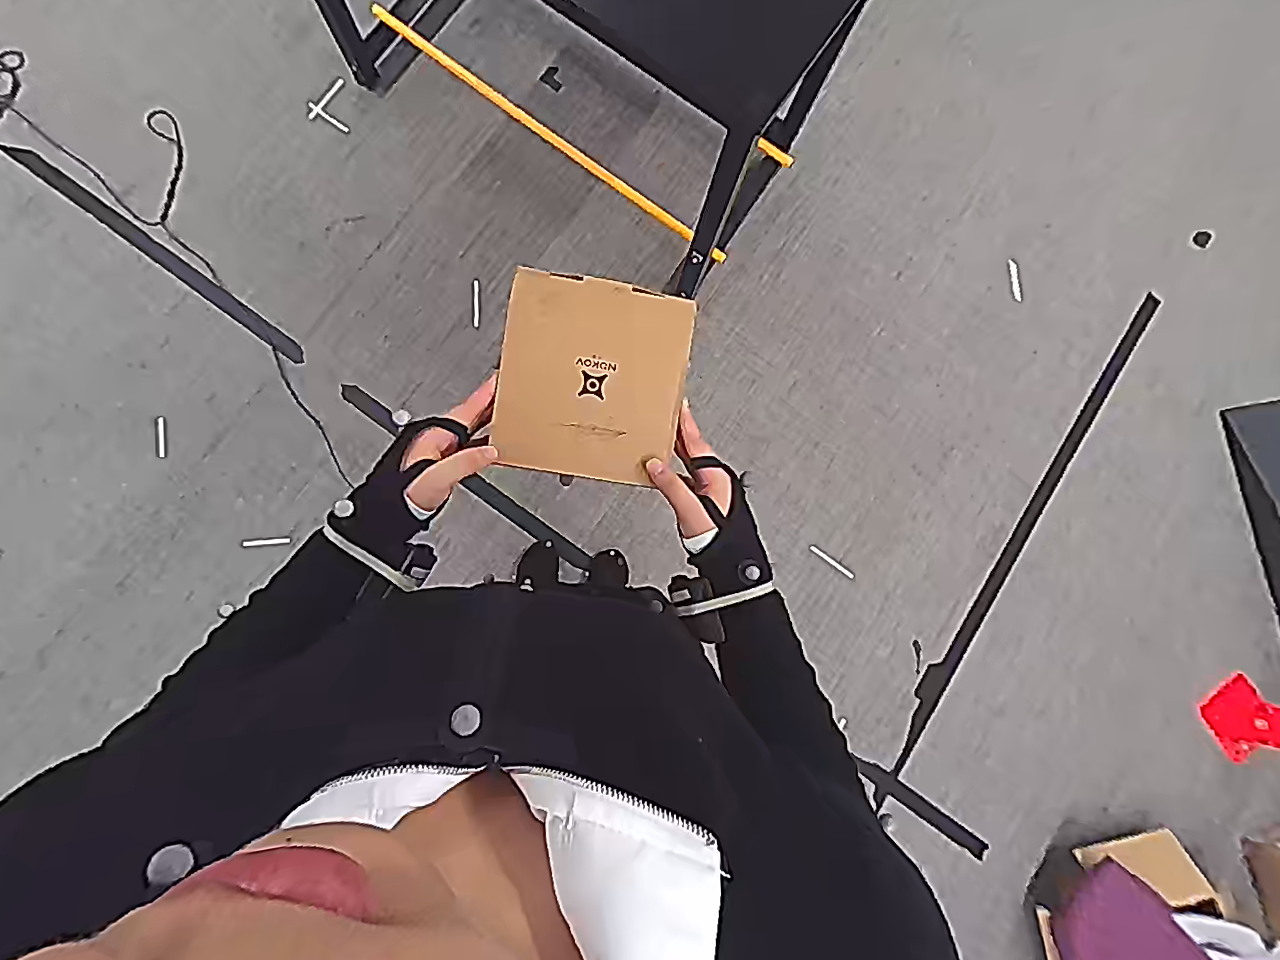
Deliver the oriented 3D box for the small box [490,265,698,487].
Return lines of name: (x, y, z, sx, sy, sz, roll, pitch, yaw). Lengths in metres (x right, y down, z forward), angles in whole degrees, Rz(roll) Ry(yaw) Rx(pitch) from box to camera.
small box: (-0.049, -0.095, 0.563, 0.168, 0.176, 0.179, 9, 92, -7)
